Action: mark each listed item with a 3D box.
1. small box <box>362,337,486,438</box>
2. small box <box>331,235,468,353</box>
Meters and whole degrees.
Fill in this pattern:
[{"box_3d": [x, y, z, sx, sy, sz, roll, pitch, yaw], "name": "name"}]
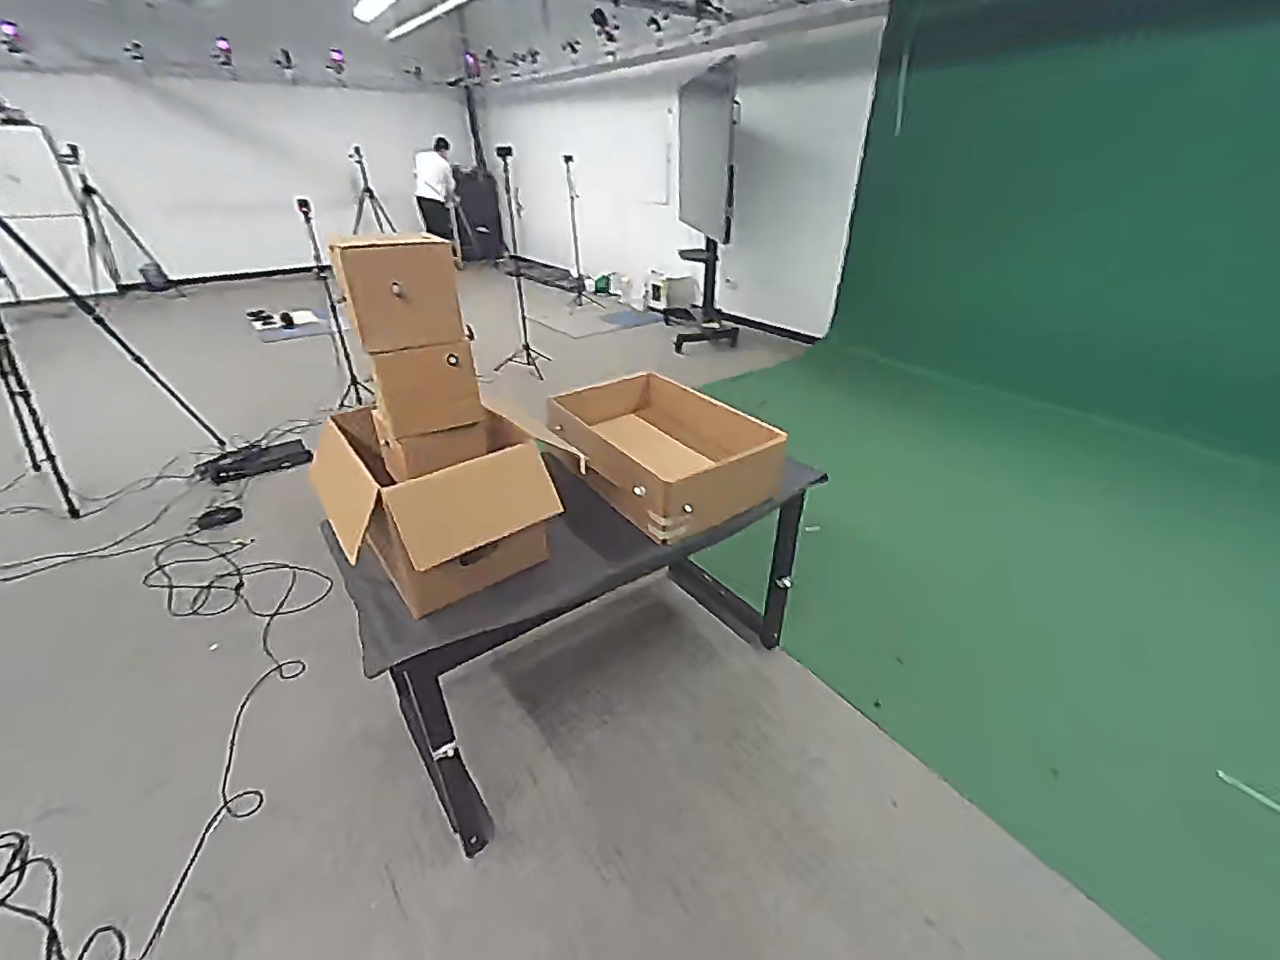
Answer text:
[{"box_3d": [-0.418, -0.195, 1.053, 0.179, 0.176, 0.168, -17, 35, -26], "name": "small box"}, {"box_3d": [-0.427, -0.336, 0.969, 0.179, 0.176, 0.168, -18, 35, -27], "name": "small box"}]
